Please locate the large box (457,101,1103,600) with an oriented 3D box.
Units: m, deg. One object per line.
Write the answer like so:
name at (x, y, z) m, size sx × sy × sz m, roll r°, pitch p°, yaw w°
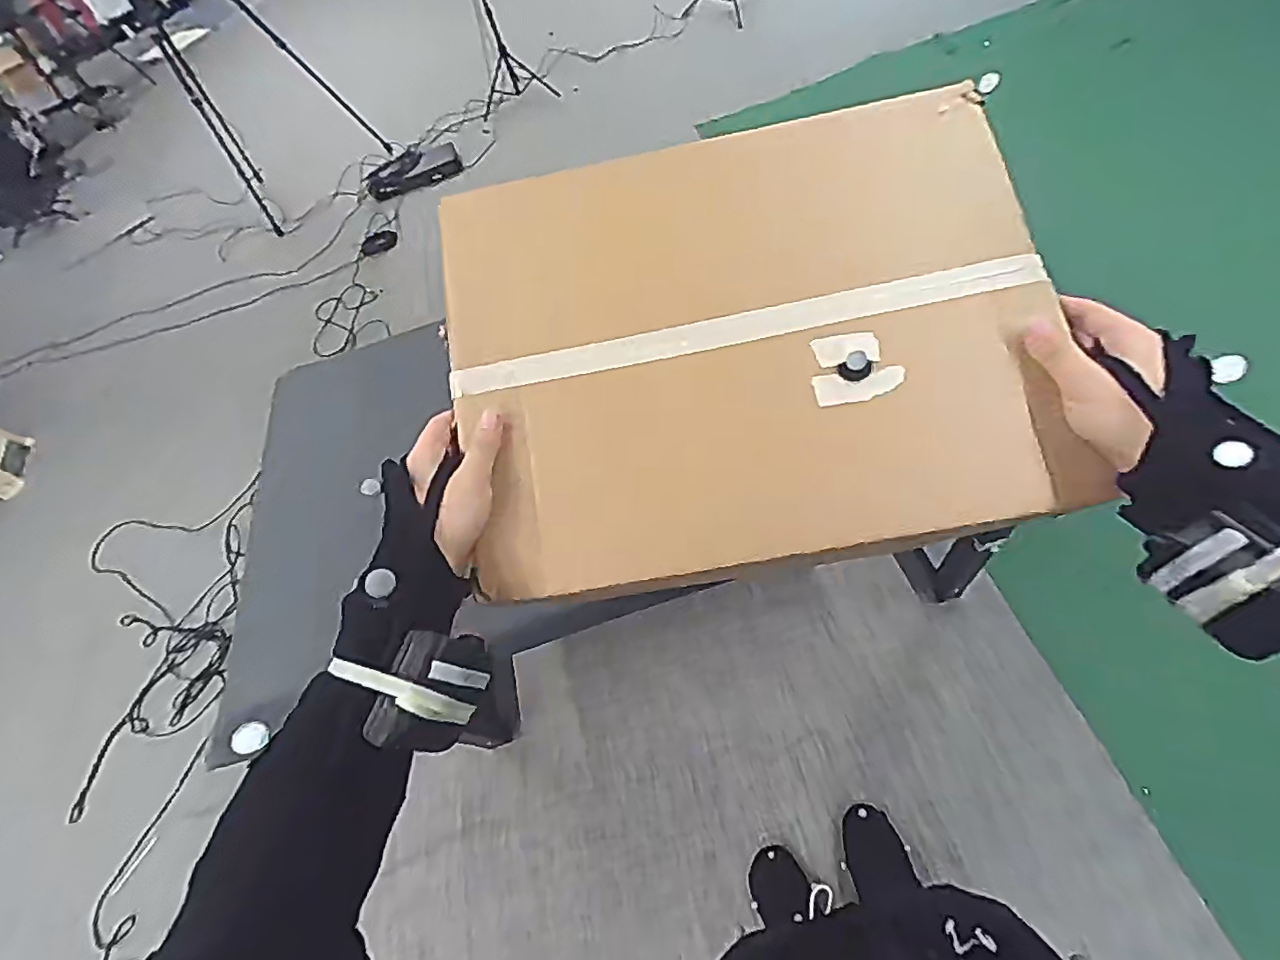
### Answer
large box at (0.085, -0.073, 0.527) m, size 0.408 × 0.320 × 0.320 m, roll -10°, pitch 77°, yaw 3°
